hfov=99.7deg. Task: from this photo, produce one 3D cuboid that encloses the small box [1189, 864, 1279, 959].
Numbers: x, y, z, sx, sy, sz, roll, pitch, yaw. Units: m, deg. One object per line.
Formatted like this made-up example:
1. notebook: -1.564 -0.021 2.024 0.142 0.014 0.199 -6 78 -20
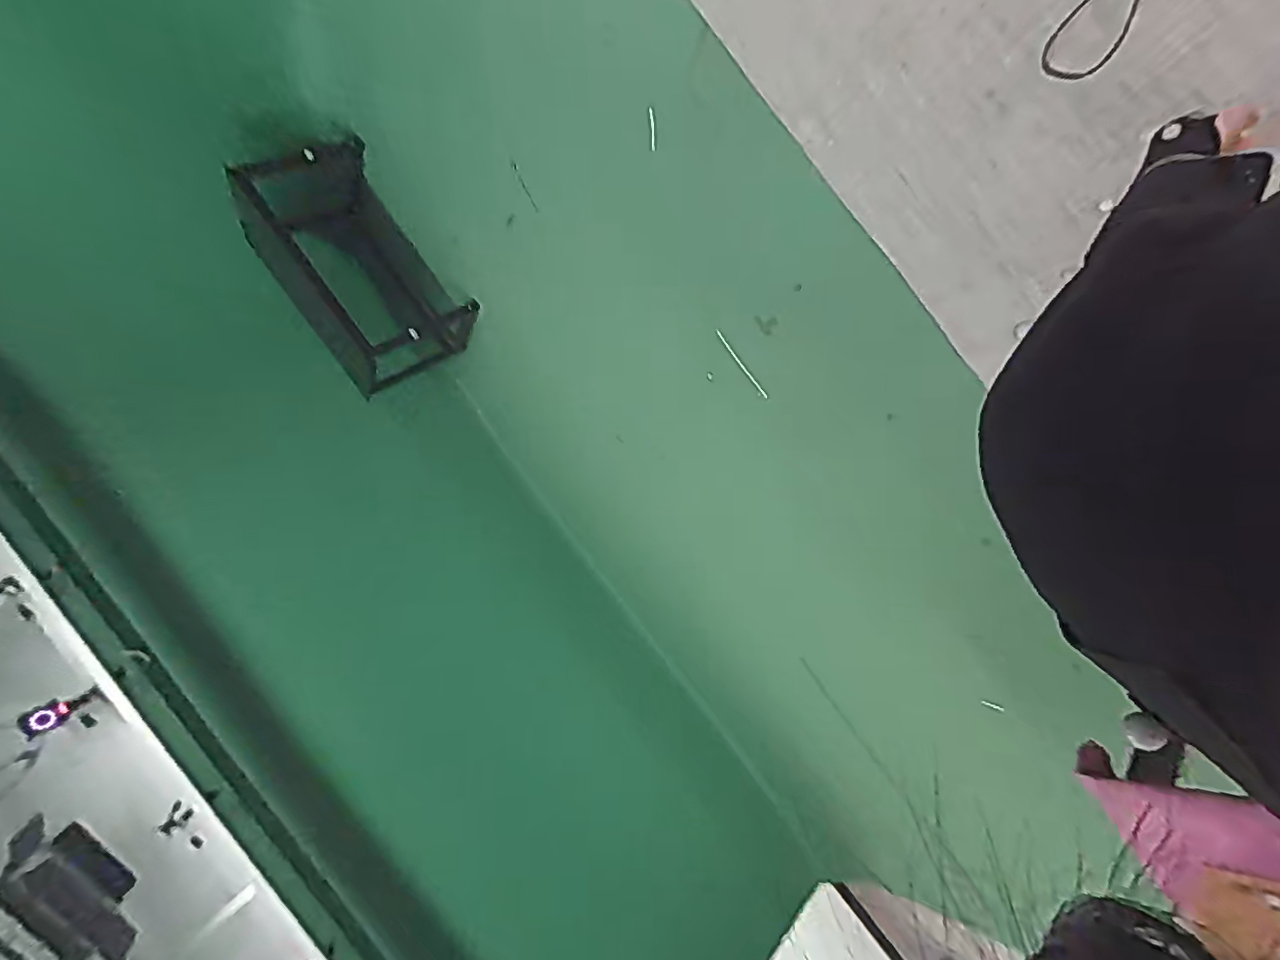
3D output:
1. small box: 0.972 0.723 0.792 0.179 0.176 0.168 51 149 1
